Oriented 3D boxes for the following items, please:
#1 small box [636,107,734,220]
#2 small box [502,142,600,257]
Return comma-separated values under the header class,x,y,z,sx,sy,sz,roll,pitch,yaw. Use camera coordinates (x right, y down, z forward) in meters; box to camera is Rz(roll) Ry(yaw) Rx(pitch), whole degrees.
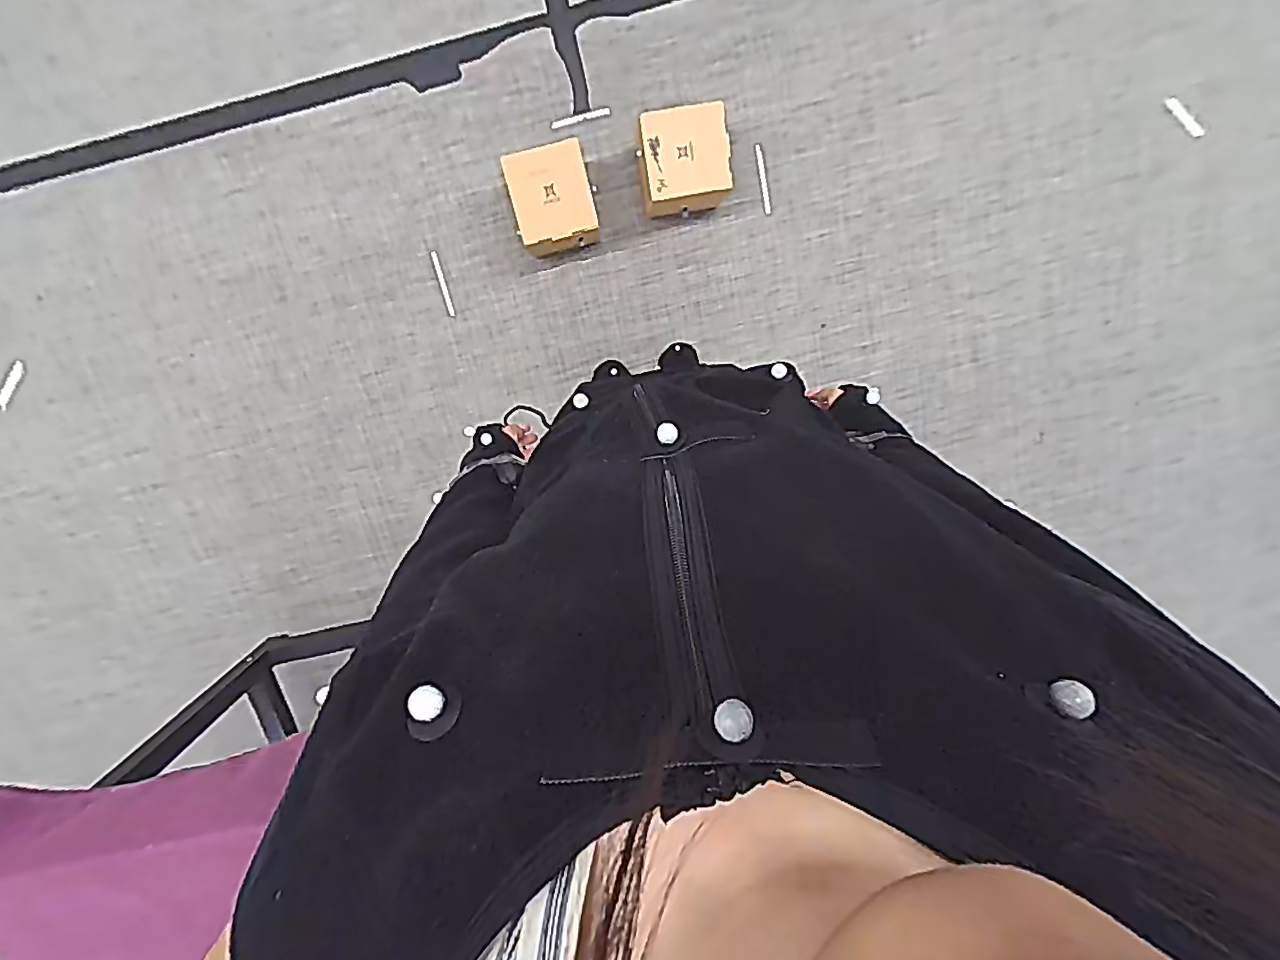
class,x,y,z,sx,sy,sz,roll,pitch,yaw
small box,0.094,-0.685,1.185,0.179,0.176,0.168,-10,105,-2
small box,-0.186,-0.603,1.191,0.168,0.176,0.179,-15,104,0
